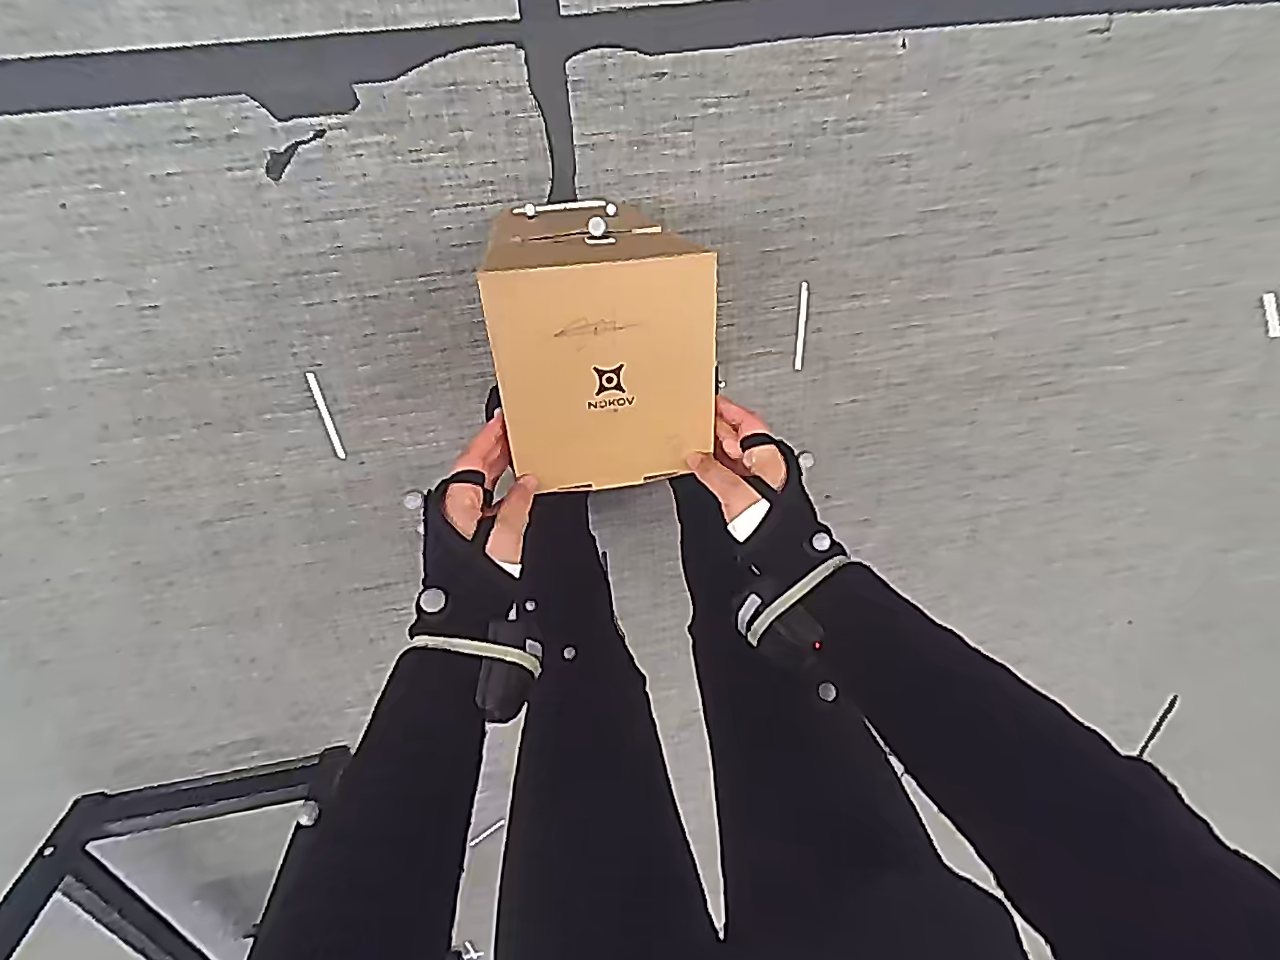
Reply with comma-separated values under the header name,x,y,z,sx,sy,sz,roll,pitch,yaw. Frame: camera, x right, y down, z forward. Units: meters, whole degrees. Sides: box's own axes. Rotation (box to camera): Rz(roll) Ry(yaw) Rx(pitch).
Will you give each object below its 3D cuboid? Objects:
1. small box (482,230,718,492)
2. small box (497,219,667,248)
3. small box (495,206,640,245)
name,x,y,z,sx,sy,sz,roll,pitch,yaw
small box,-0.036,-0.113,0.478,0.168,0.176,0.179,-8,120,-8
small box,-0.064,-0.195,0.616,0.168,0.176,0.179,-8,122,-7
small box,-0.095,-0.281,0.753,0.179,0.176,0.168,-8,122,-7
